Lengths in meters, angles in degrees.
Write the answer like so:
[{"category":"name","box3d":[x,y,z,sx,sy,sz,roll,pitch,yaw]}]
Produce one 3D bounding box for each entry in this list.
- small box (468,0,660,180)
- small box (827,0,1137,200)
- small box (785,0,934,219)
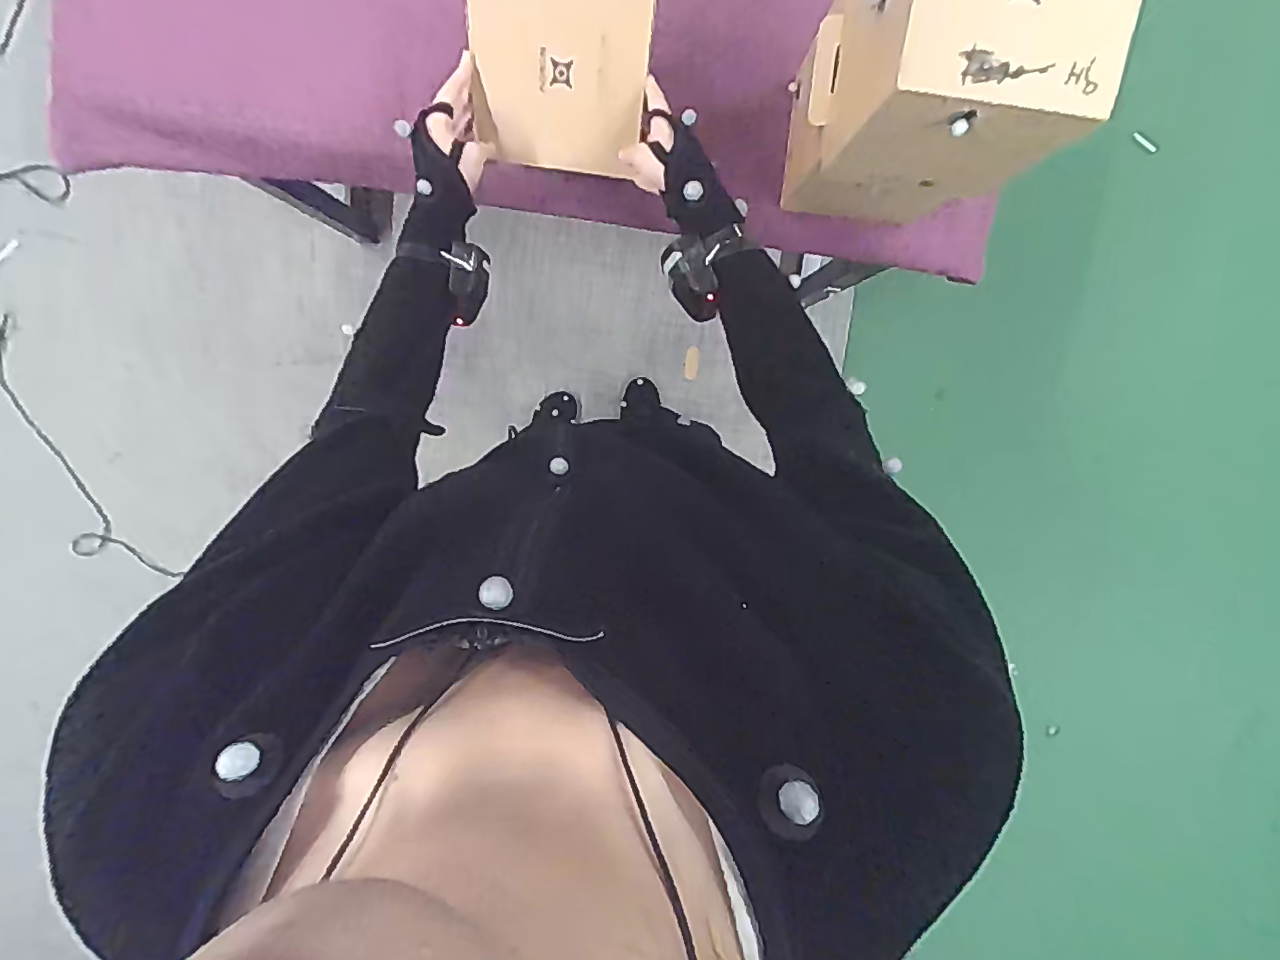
[{"category":"small box","box3d":[-0.076,-0.442,0.595,0.179,0.176,0.168,7,125,-3]},{"category":"small box","box3d":[0.279,-0.374,0.469,0.168,0.176,0.179,7,99,-1]},{"category":"small box","box3d":[0.280,-0.418,0.628,0.179,0.176,0.168,5,100,-2]}]
